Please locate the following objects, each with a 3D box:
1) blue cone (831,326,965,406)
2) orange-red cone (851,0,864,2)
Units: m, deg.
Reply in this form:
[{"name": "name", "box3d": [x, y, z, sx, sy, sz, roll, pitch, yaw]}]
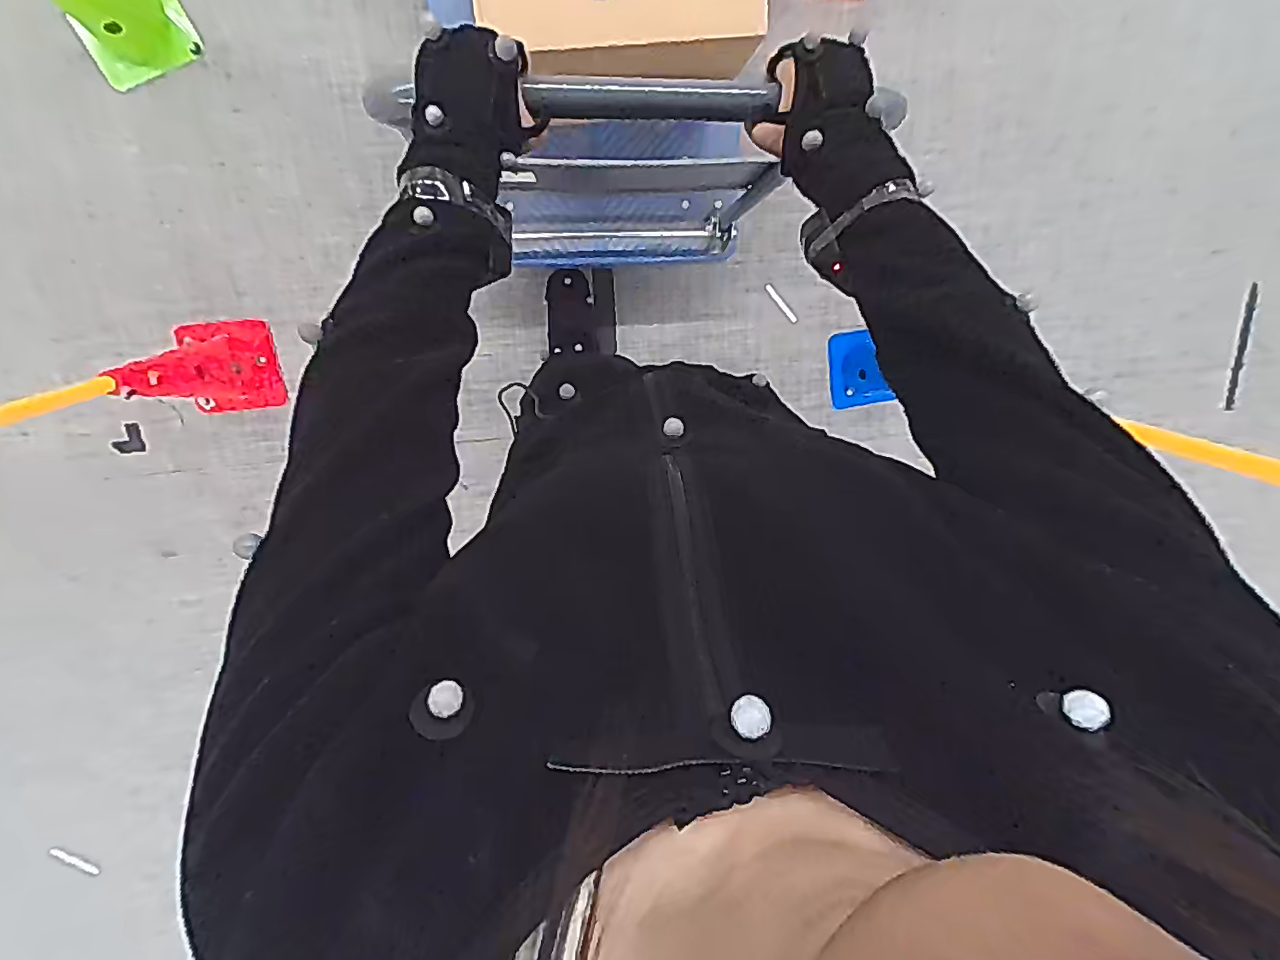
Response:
[{"name": "blue cone", "box3d": [0.624, -0.258, 1.279, 0.193, 0.380, 0.192, -9, 106, -5]}, {"name": "orange-red cone", "box3d": [0.446, -1.105, 0.995, 0.199, 0.360, 0.198, 0, 106, -9]}]
